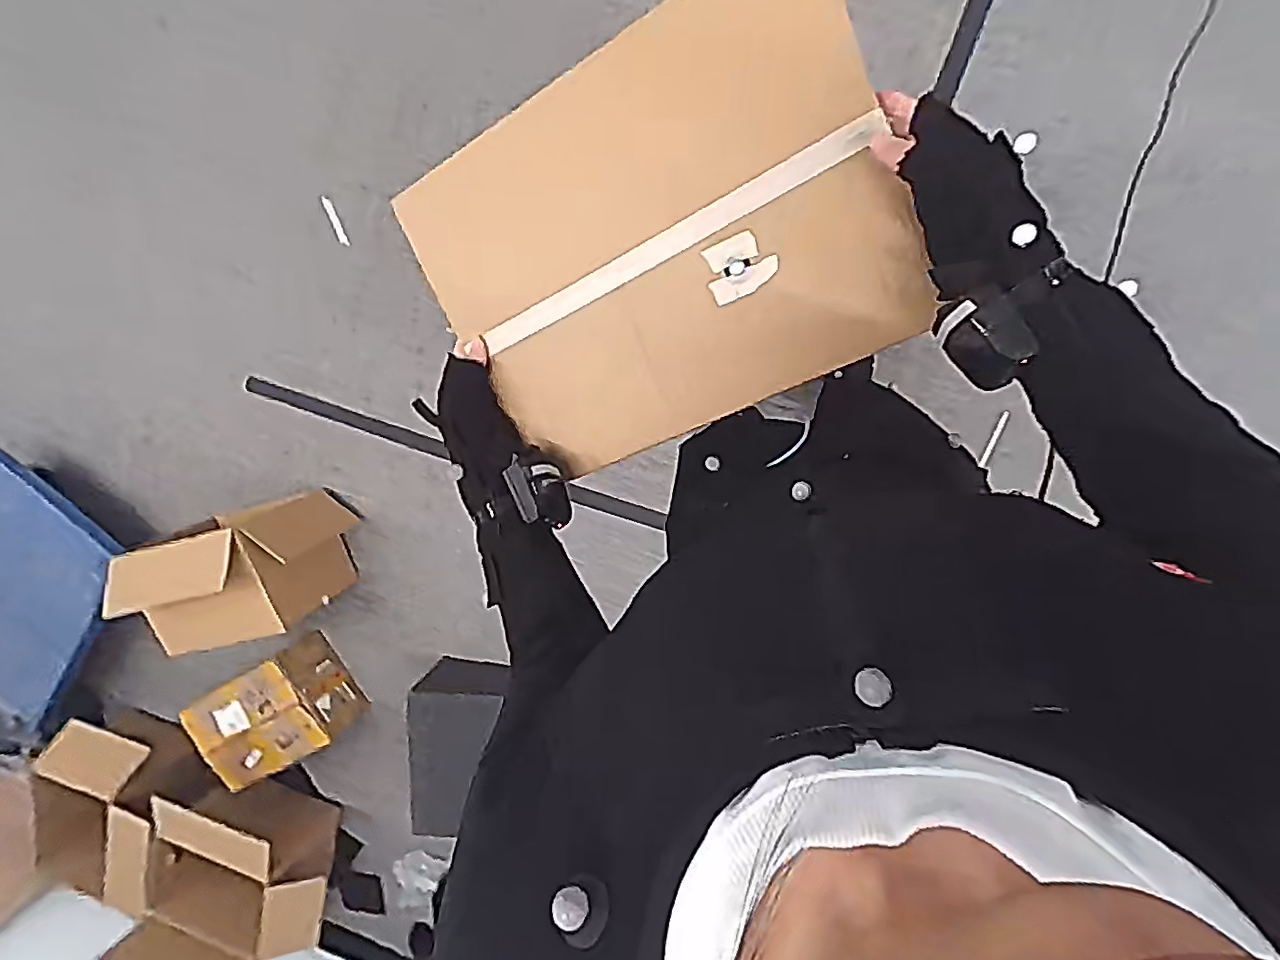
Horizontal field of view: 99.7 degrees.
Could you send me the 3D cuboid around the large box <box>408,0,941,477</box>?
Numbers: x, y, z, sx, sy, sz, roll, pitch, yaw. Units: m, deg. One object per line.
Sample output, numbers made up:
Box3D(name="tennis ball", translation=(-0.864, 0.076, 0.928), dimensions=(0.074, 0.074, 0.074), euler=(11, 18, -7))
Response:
Box3D(name="large box", translation=(0.043, -0.249, 0.617), dimensions=(0.408, 0.320, 0.320), euler=(-23, 101, 19))
